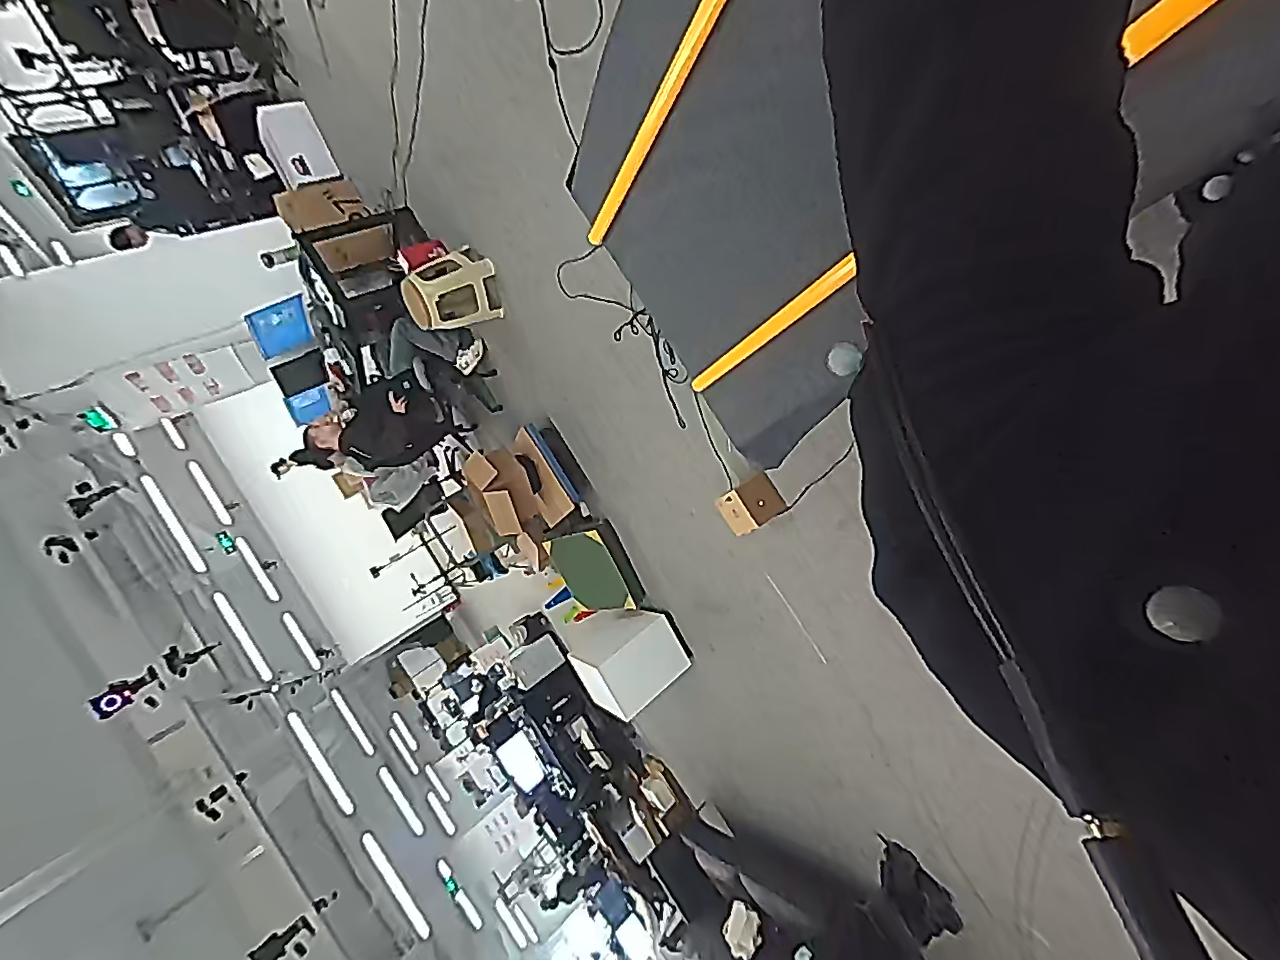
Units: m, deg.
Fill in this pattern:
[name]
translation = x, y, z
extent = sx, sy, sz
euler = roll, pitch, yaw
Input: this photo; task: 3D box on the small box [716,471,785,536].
[small box]
translation = 0.442, 0.094, 2.154
extent = 0.179, 0.176, 0.168
euler = 57, 152, 4
